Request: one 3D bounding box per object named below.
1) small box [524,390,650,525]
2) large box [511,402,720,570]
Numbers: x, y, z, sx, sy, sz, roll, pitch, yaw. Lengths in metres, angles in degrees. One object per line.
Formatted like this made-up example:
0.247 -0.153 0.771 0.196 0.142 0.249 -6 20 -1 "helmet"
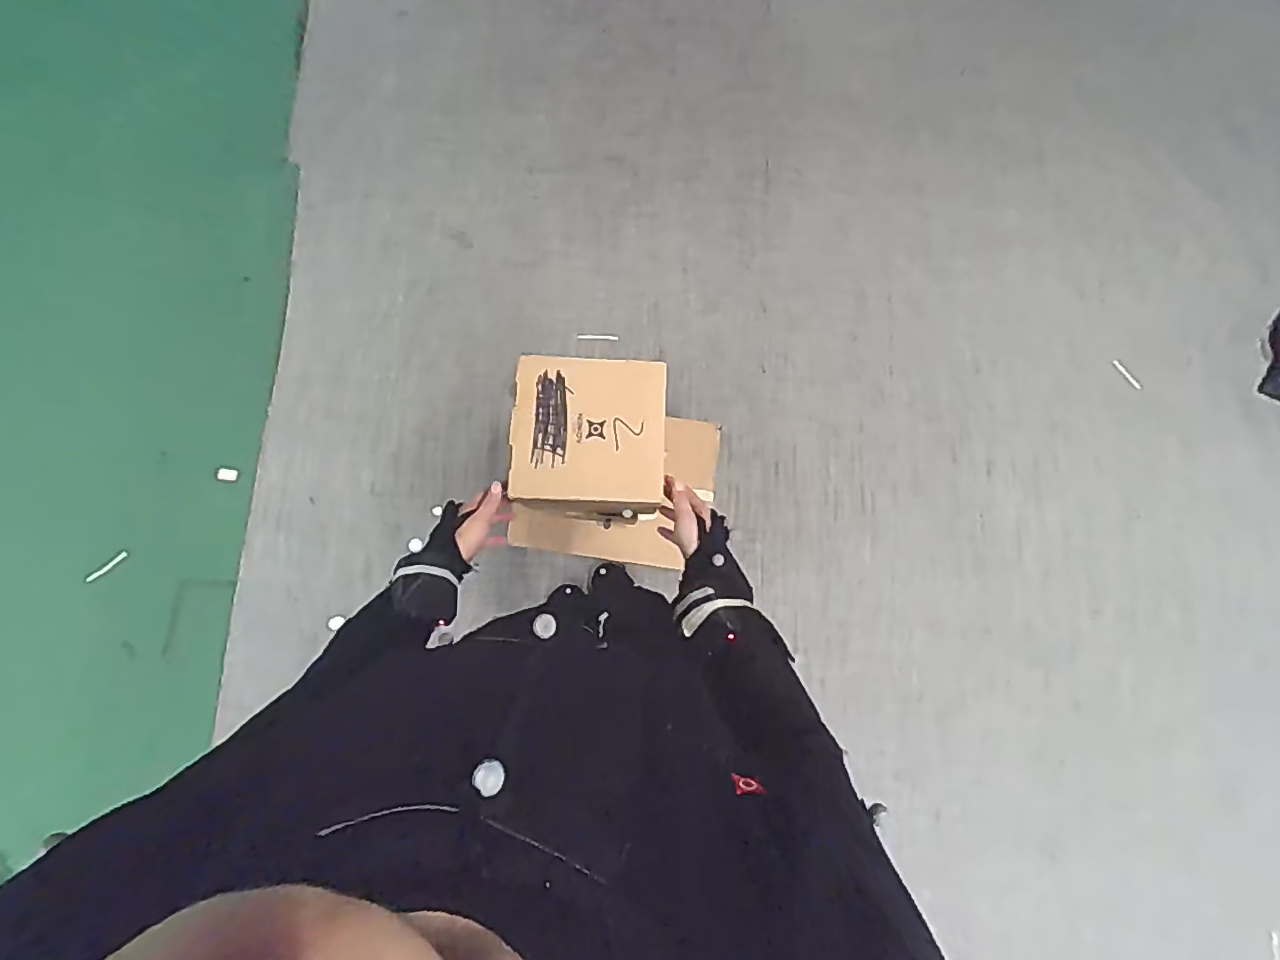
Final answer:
-0.077 -0.025 0.851 0.168 0.176 0.179 6 81 -1 "small box"
-0.051 0.029 1.251 0.408 0.320 0.320 8 83 0 "large box"
